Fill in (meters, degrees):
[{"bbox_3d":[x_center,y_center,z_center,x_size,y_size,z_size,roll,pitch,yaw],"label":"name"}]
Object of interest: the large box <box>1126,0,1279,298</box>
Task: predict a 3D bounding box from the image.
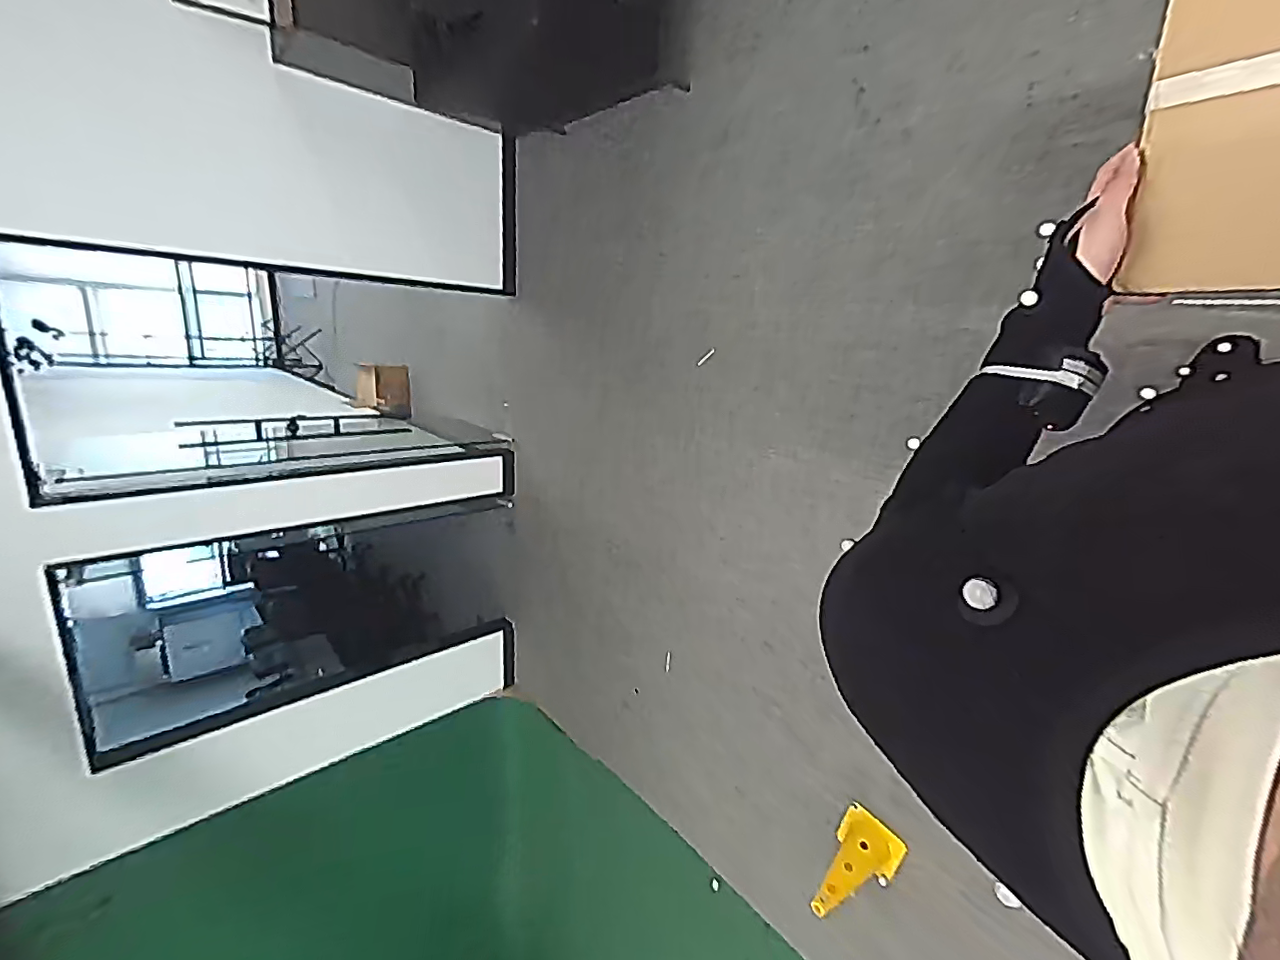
[{"bbox_3d":[0.679,-0.318,0.408,0.408,0.320,0.320,15,117,46],"label":"large box"}]
